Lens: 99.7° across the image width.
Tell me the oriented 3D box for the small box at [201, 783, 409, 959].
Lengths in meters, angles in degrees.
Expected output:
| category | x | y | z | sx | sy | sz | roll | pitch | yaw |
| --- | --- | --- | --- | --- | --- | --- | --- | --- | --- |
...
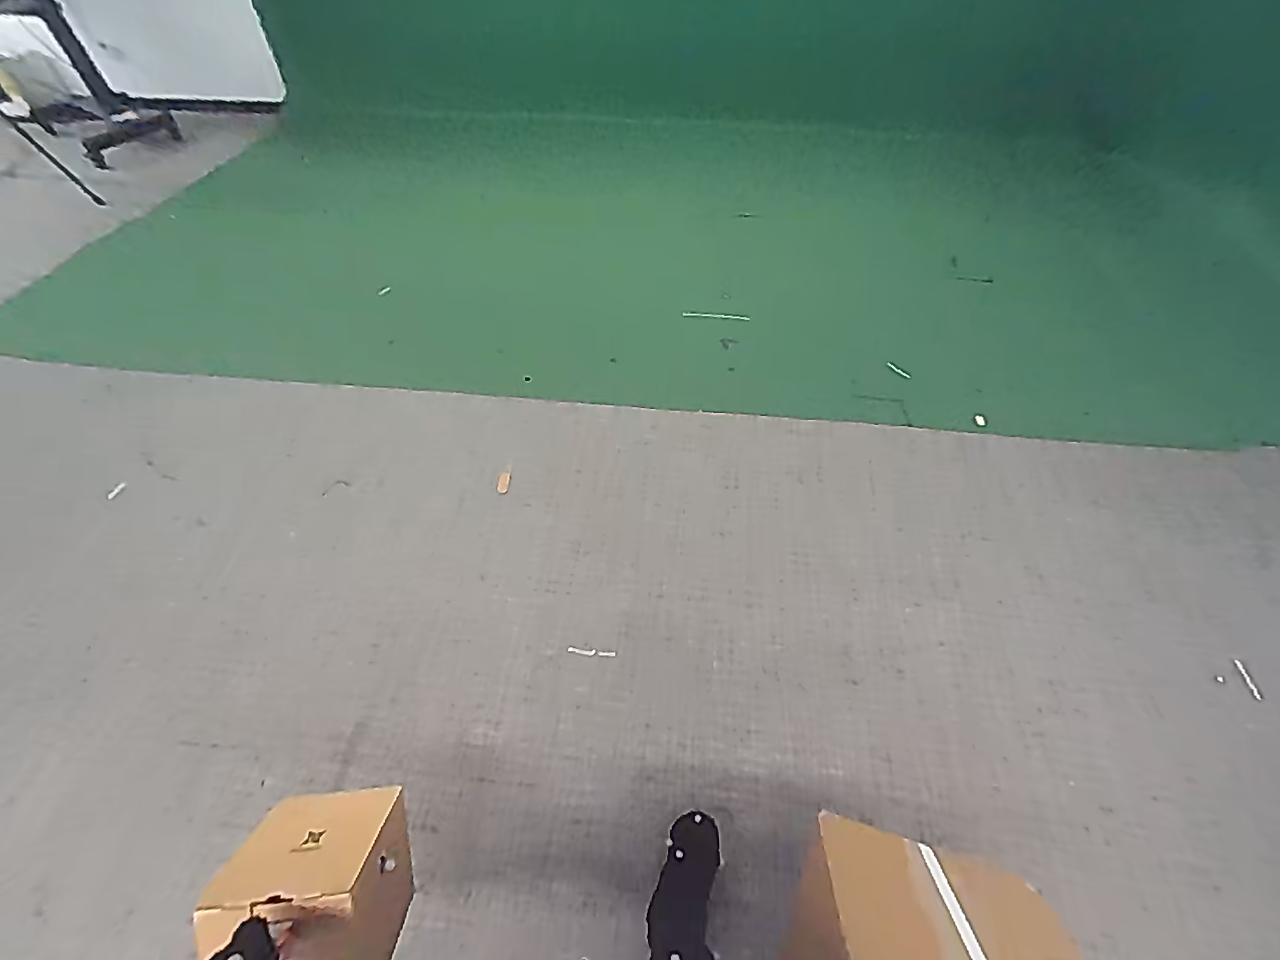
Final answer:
| category | x | y | z | sx | sy | sz | roll | pitch | yaw |
| --- | --- | --- | --- | --- | --- | --- | --- | --- | --- |
| small box | -0.405 | 0.526 | 0.686 | 0.168 | 0.176 | 0.179 | -4 | 7 | -6 |
